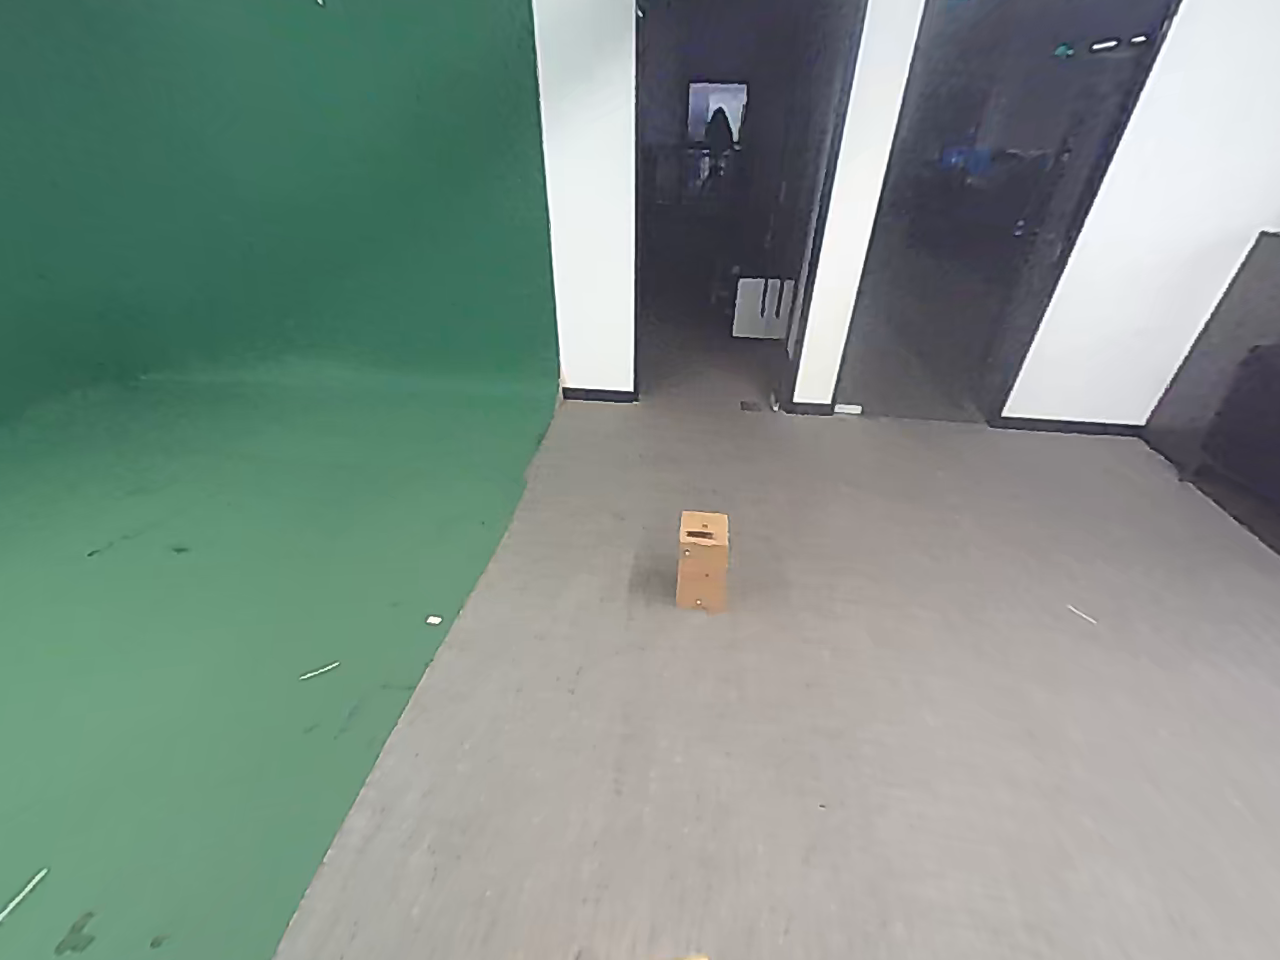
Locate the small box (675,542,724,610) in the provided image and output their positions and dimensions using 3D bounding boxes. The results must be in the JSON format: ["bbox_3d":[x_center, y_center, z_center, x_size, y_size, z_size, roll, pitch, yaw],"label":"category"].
[{"bbox_3d":[0.220,0.357,2.023,0.168,0.176,0.179,5,36,7],"label":"small box"}]
